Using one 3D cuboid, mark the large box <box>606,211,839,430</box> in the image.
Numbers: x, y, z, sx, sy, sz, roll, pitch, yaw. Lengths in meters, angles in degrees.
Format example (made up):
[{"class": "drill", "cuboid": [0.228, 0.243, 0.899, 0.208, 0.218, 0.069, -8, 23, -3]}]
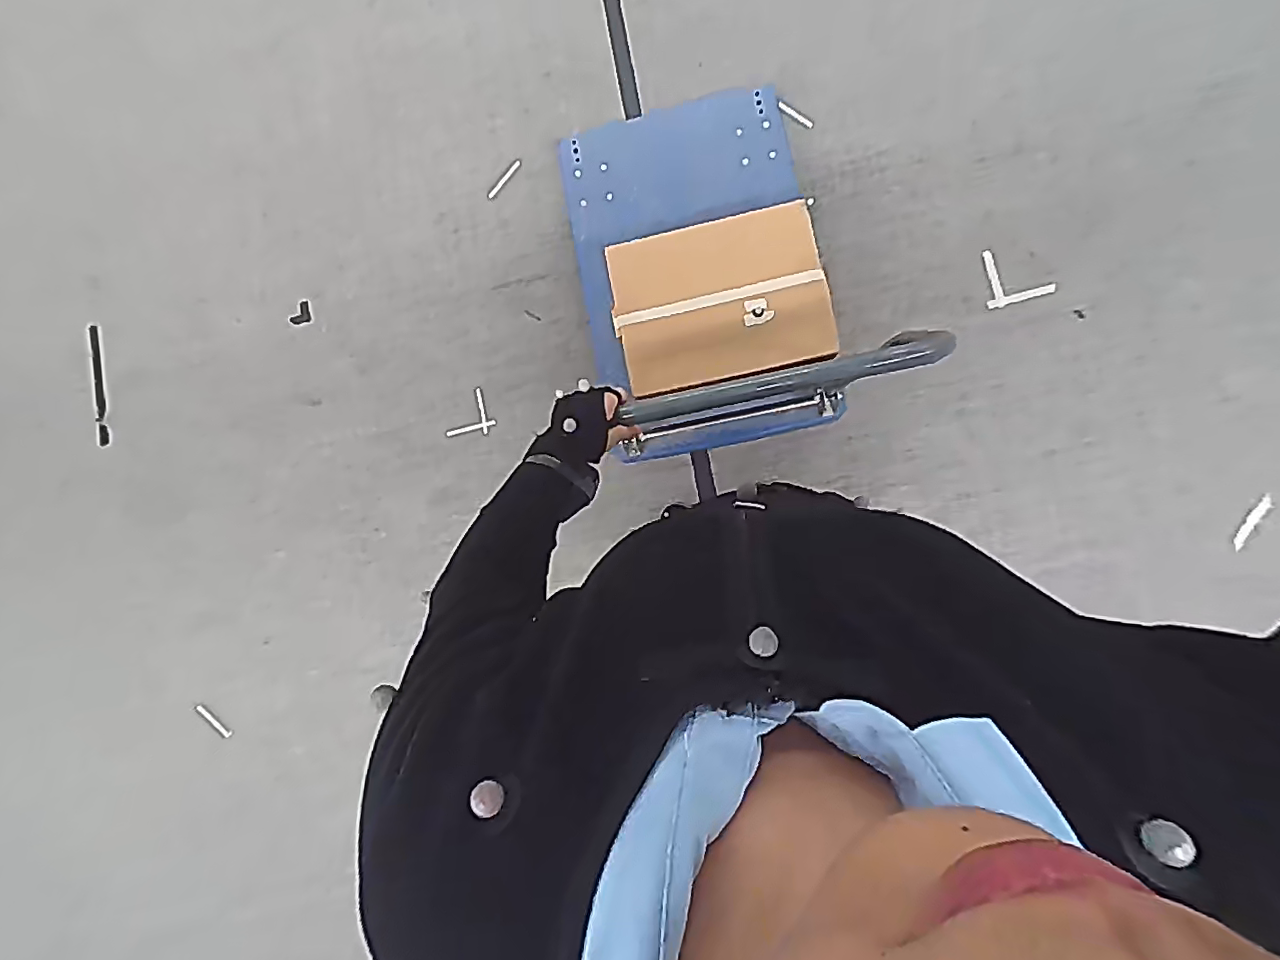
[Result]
[{"class": "large box", "cuboid": [0.167, -0.320, 1.190, 0.408, 0.320, 0.320, -11, 86, 5]}]
